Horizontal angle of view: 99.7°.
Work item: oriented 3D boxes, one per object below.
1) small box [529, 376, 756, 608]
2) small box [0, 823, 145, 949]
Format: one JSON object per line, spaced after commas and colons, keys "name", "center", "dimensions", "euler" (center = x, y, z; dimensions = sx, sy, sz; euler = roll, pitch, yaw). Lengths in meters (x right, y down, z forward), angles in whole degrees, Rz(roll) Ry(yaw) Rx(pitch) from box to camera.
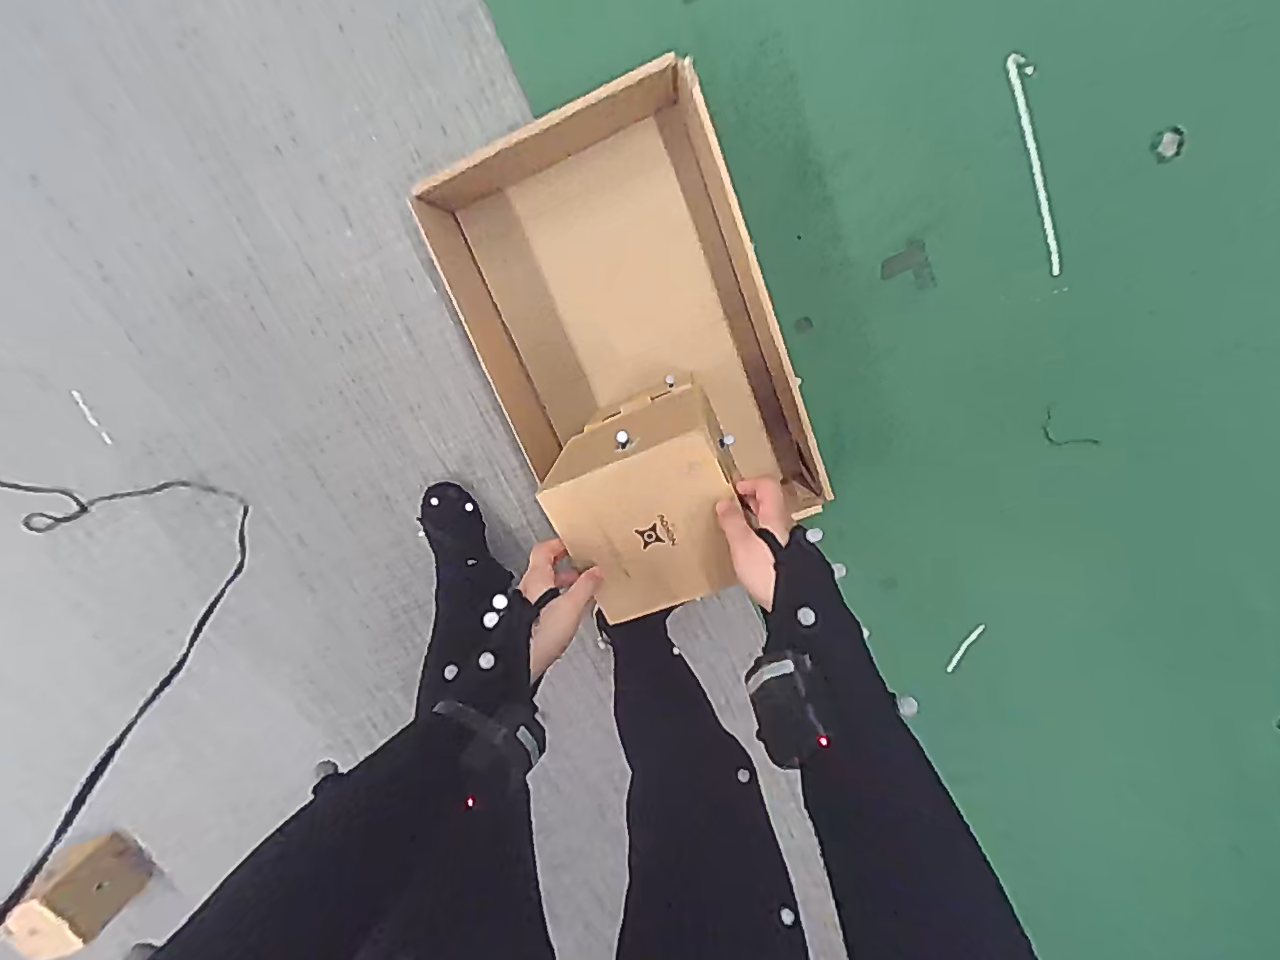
{"name": "small box", "center": [0.010, 0.004, 0.595], "dimensions": [0.179, 0.176, 0.168], "euler": [-22, 110, 15]}
{"name": "small box", "center": [-1.371, 0.977, 1.314], "dimensions": [0.179, 0.176, 0.168], "euler": [-22, 105, 10]}
